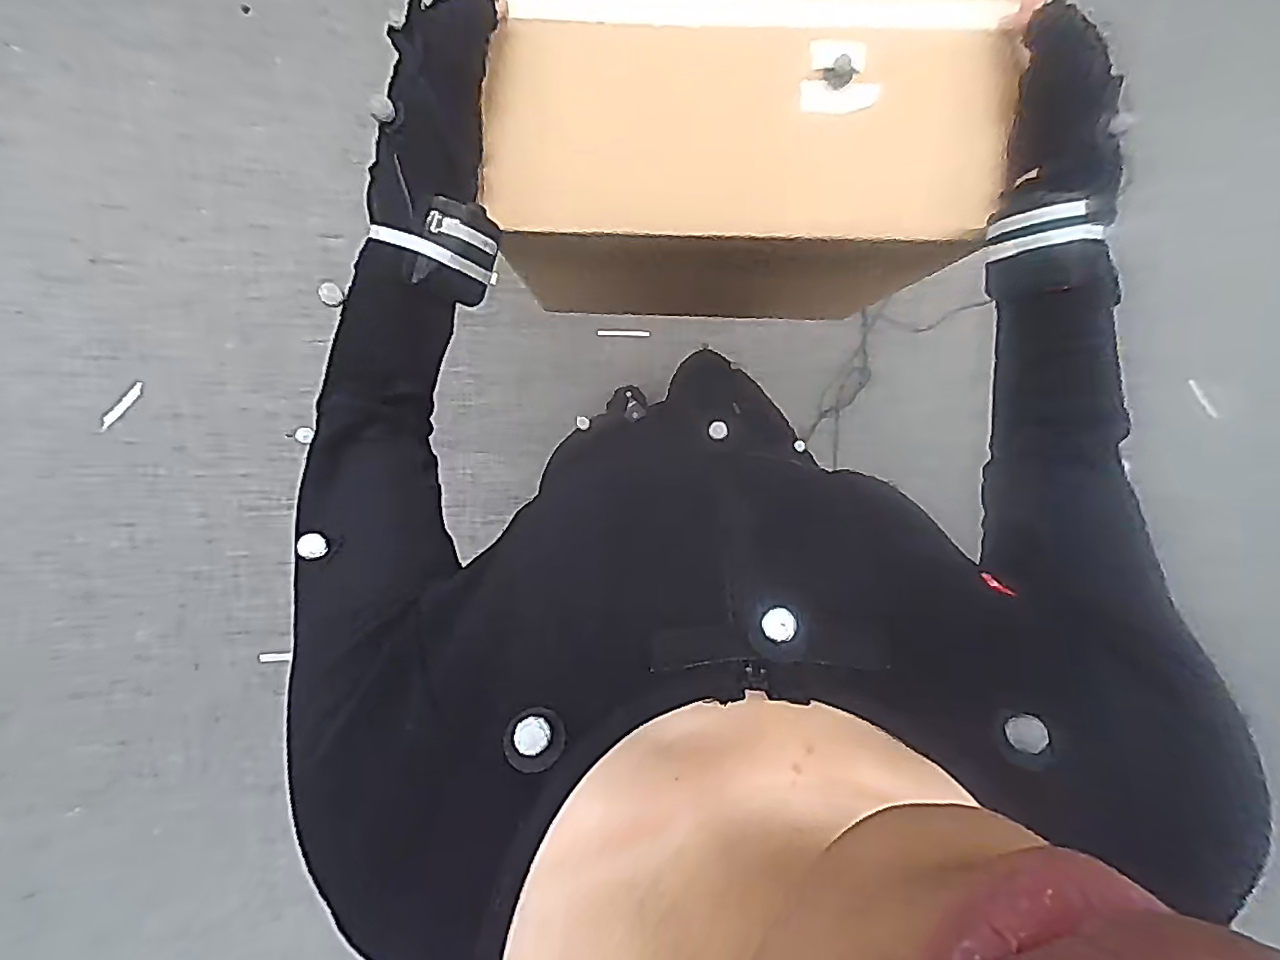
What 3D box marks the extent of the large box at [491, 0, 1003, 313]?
[{"bbox_3d":[0.078,-0.365,0.566,0.408,0.320,0.320,1,96,-1],"label":"large box"}]
